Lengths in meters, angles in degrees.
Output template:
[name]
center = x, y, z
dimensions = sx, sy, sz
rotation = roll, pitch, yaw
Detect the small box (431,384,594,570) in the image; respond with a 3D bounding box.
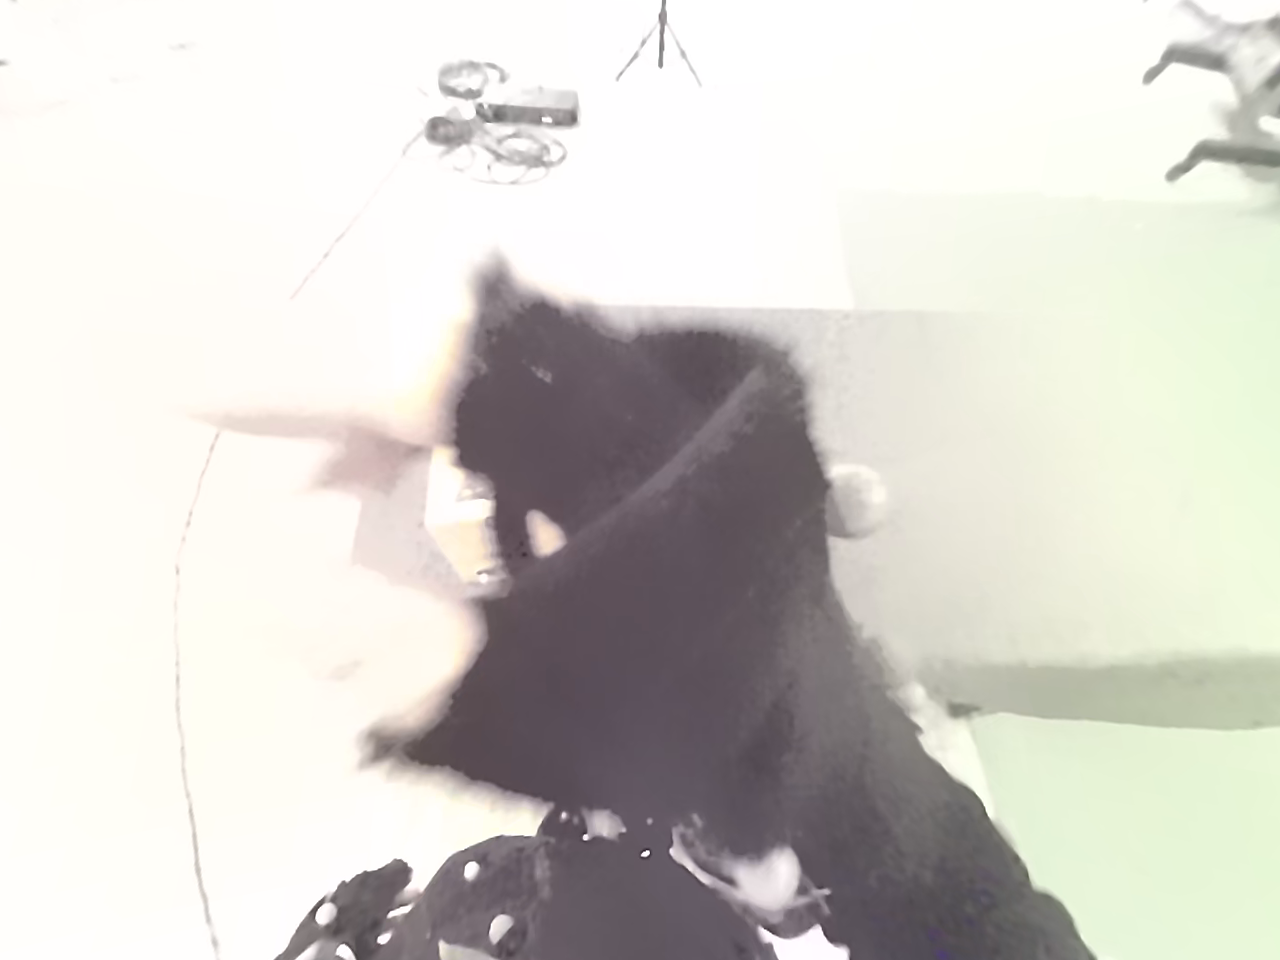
[small box]
center = -0.147, 0.004, 0.676
dimensions = 0.168, 0.176, 0.179
rotation = -5, 58, -4
